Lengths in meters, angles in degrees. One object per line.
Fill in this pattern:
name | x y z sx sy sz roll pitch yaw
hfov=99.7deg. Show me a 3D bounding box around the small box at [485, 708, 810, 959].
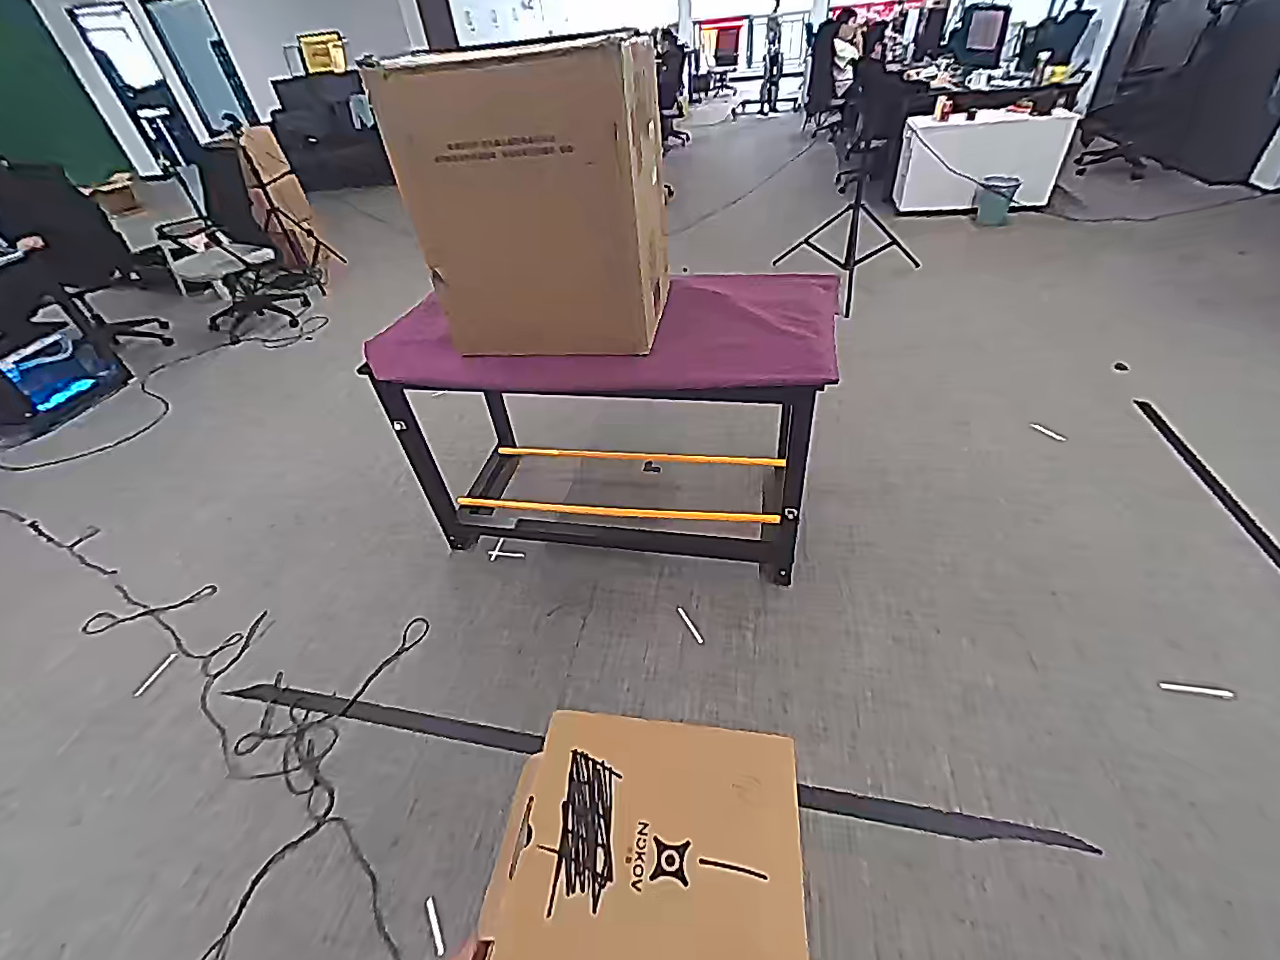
small box | 0.014 0.285 0.379 0.179 0.176 0.168 4 42 7
